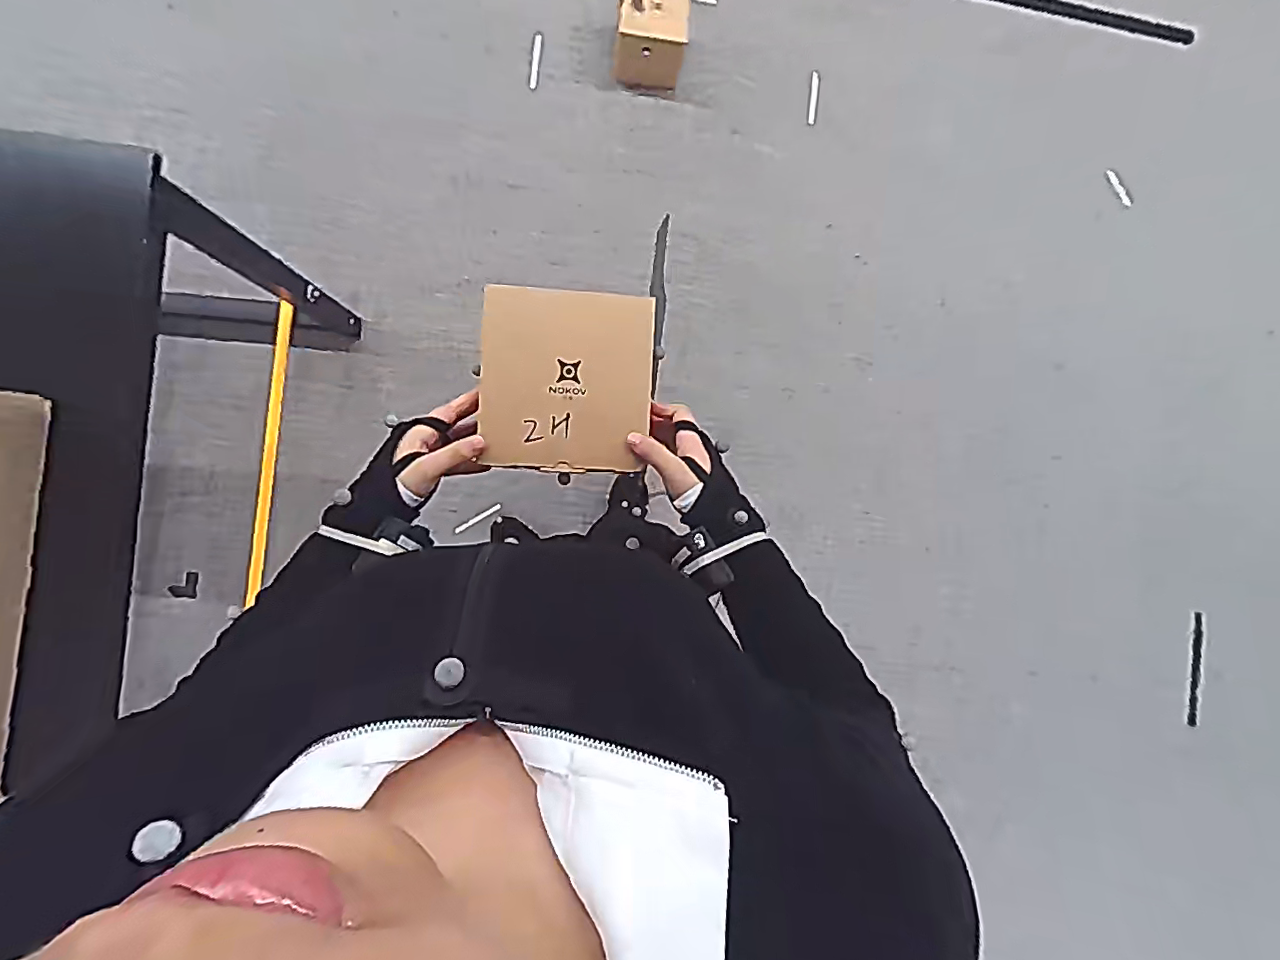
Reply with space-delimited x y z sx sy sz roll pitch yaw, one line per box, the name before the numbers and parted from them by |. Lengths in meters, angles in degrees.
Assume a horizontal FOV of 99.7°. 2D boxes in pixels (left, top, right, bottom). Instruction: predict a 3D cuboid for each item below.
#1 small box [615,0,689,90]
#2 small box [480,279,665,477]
small box | 0.027 -1.184 1.440 0.179 0.176 0.168 3 90 -7
small box | -0.072 -0.096 0.591 0.168 0.176 0.179 4 90 -6
